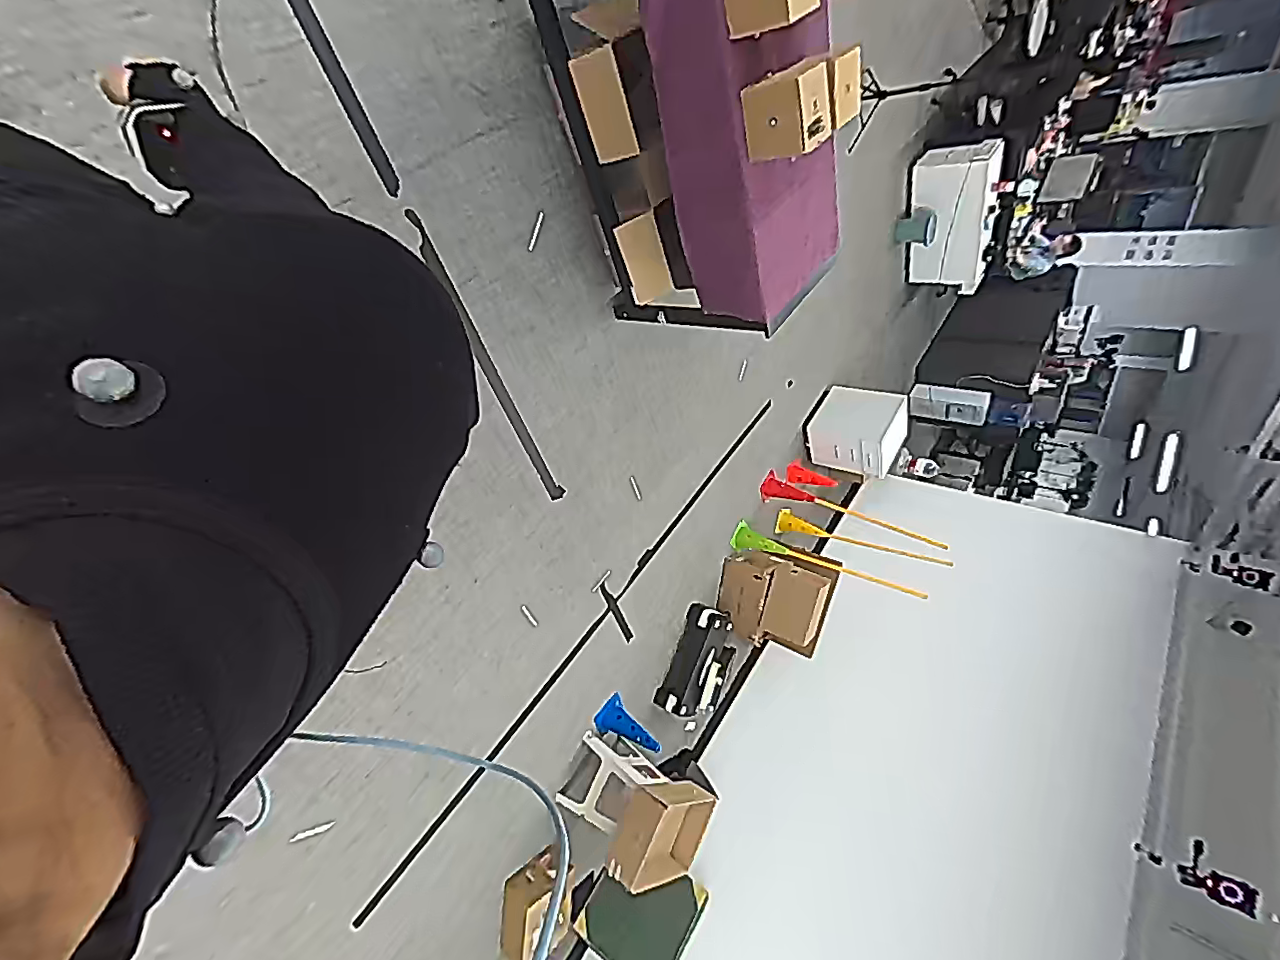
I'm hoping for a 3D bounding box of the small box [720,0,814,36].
[{"bbox_3d":[0.294,-1.199,1.284,0.168,0.176,0.179,-49,138,-28],"label":"small box"}]
